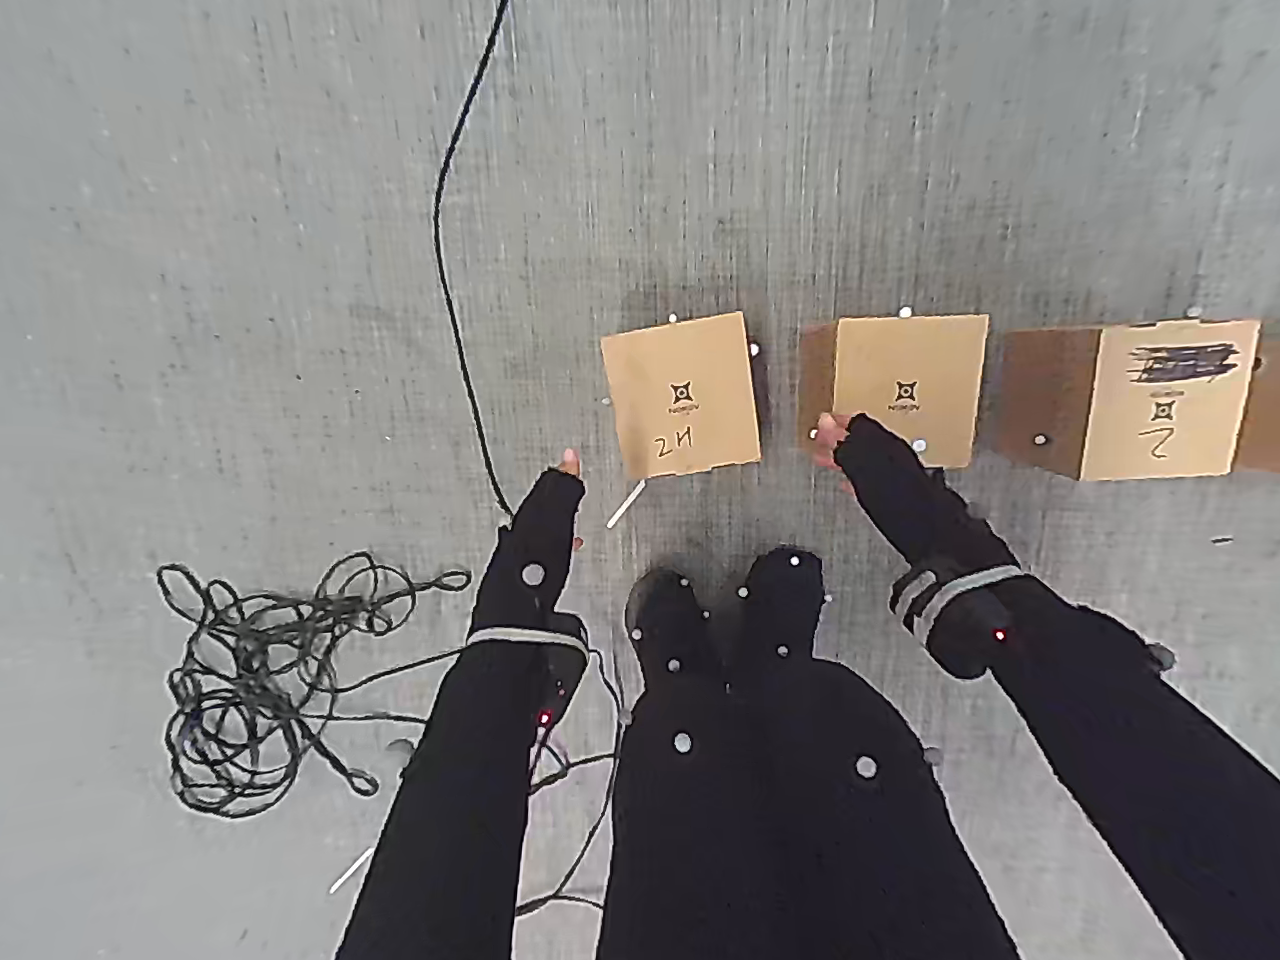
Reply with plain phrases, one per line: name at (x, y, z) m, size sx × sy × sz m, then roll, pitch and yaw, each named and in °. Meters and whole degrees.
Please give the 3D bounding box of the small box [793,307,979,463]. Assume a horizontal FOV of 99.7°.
small box at (0.299, -0.123, 0.697) m, size 0.168 × 0.176 × 0.179 m, roll -1°, pitch 104°, yaw 3°

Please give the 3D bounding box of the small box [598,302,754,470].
small box at (0.047, -0.123, 0.706) m, size 0.168 × 0.176 × 0.179 m, roll -8°, pitch 104°, yaw 5°

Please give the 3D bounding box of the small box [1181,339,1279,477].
small box at (0.868, -0.081, 0.684) m, size 0.179 × 0.176 × 0.168 m, roll 13°, pitch 105°, yaw -2°
